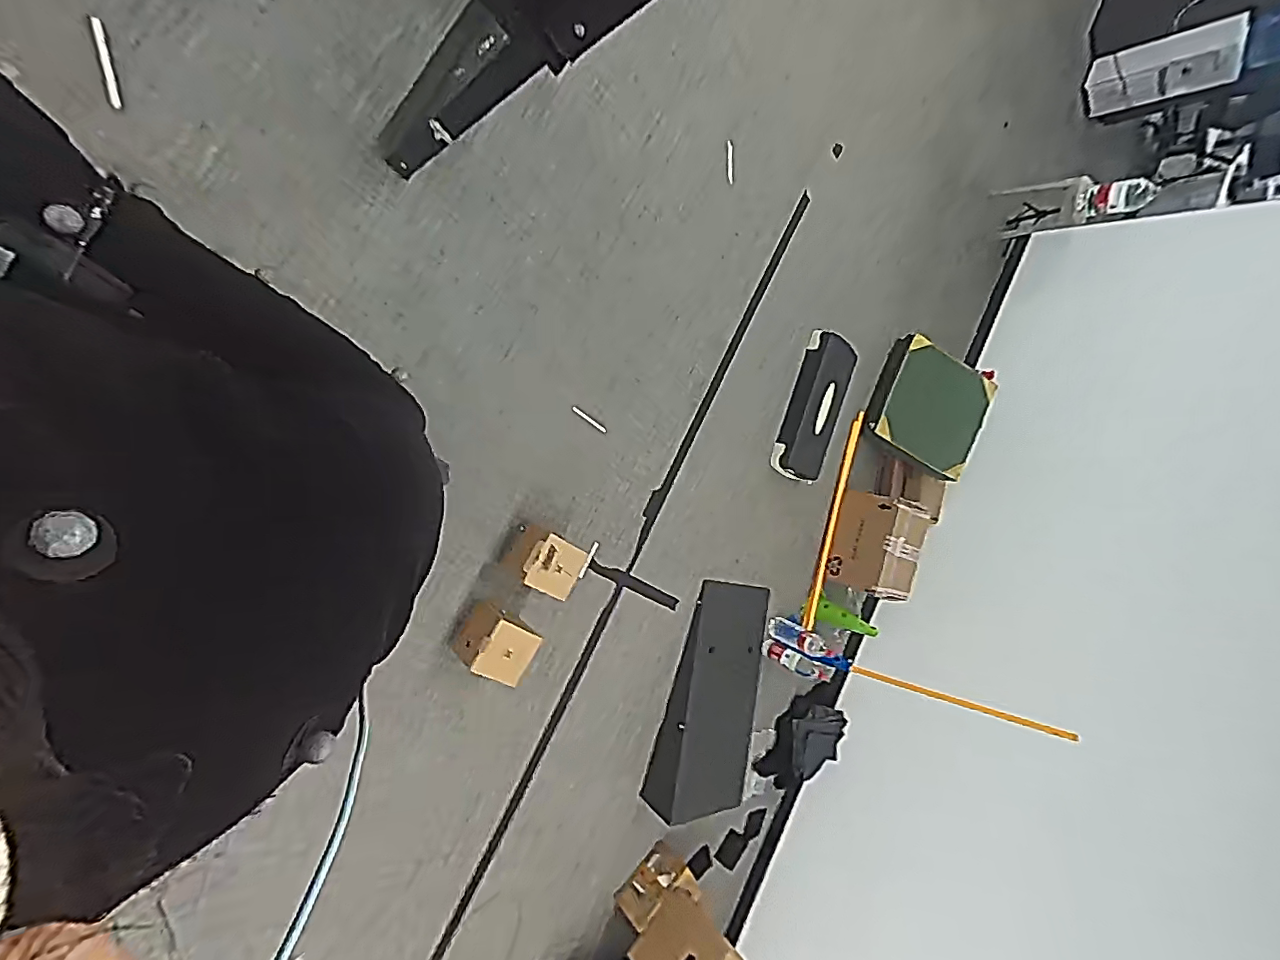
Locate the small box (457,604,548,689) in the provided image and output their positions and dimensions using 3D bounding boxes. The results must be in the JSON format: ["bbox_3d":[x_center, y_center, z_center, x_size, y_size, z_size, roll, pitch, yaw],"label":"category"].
[{"bbox_3d":[-0.419,0.496,1.633,0.179,0.176,0.168,41,75,-39],"label":"small box"}]

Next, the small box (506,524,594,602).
[{"bbox_3d":[-0.285,0.252,1.680,0.179,0.176,0.168,37,78,-40],"label":"small box"}]
